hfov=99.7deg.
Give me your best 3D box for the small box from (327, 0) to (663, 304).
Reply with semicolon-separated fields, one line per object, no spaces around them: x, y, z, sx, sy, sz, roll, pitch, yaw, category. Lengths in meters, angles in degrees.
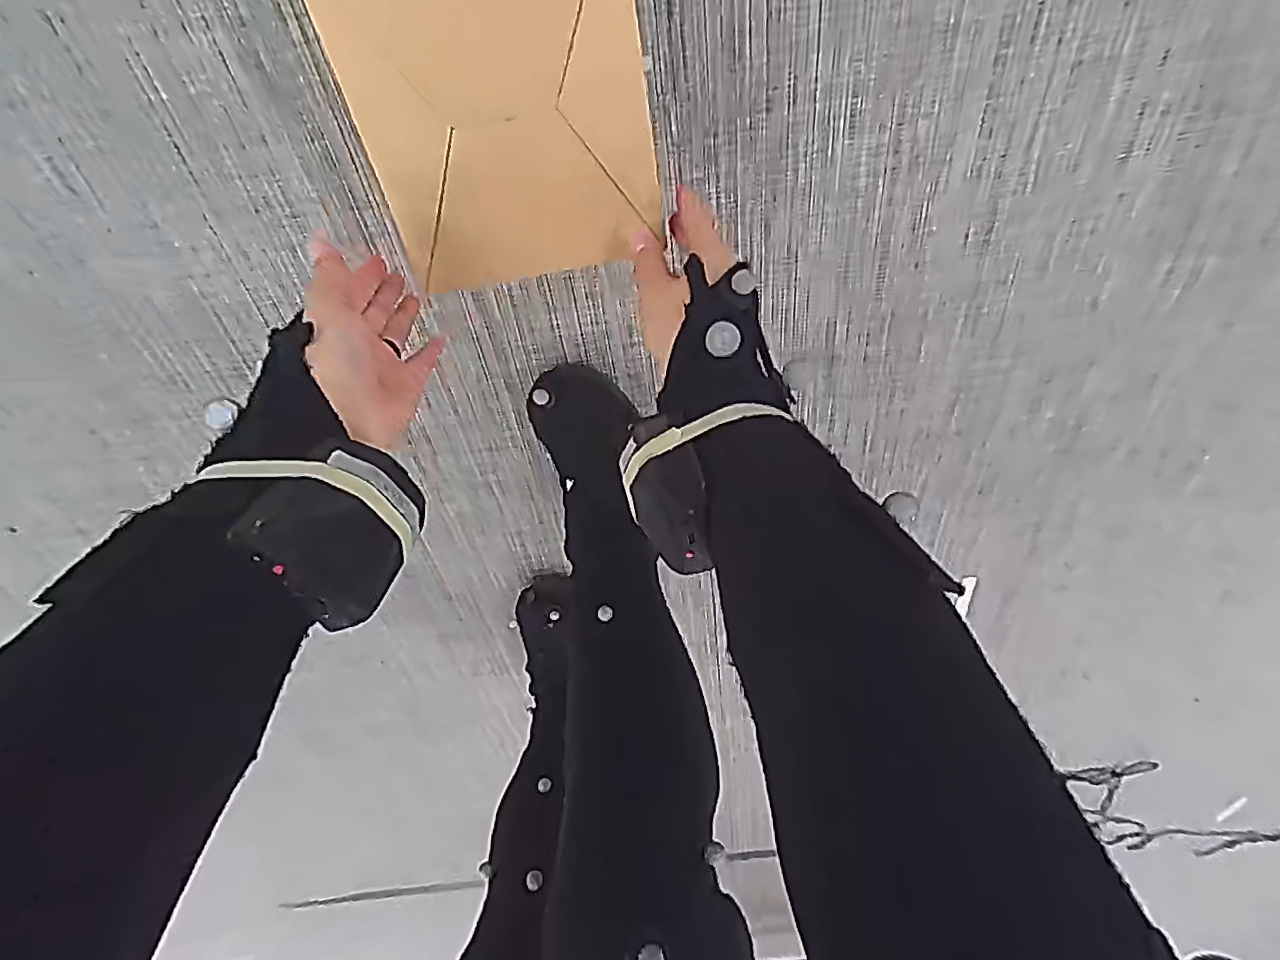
-0.079;-0.245;0.372;0.168;0.176;0.179;-9;126;3;small box
